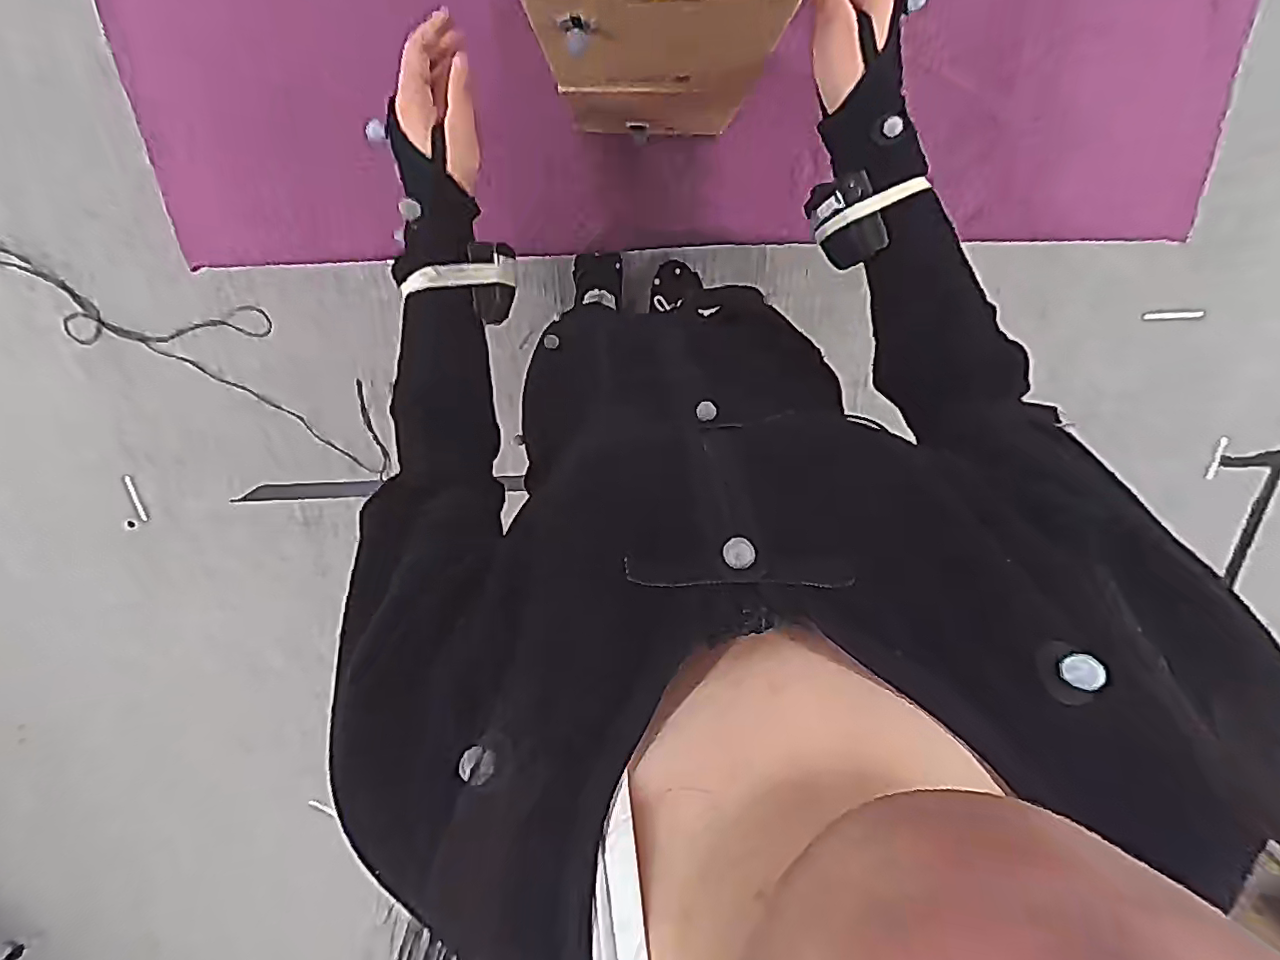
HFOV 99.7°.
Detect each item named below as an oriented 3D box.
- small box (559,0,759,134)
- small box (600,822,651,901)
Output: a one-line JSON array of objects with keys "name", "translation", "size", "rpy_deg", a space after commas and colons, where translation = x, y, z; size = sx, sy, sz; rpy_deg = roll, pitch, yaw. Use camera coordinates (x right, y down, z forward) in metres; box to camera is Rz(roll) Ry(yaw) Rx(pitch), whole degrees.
[{"name": "small box", "translation": [0.014, -0.443, 0.500], "size": [0.168, 0.176, 0.179], "rpy_deg": [0, 112, -1]}, {"name": "small box", "translation": [-0.051, 1.413, 2.007], "size": [0.168, 0.176, 0.179], "rpy_deg": [-9, 113, 1]}]
